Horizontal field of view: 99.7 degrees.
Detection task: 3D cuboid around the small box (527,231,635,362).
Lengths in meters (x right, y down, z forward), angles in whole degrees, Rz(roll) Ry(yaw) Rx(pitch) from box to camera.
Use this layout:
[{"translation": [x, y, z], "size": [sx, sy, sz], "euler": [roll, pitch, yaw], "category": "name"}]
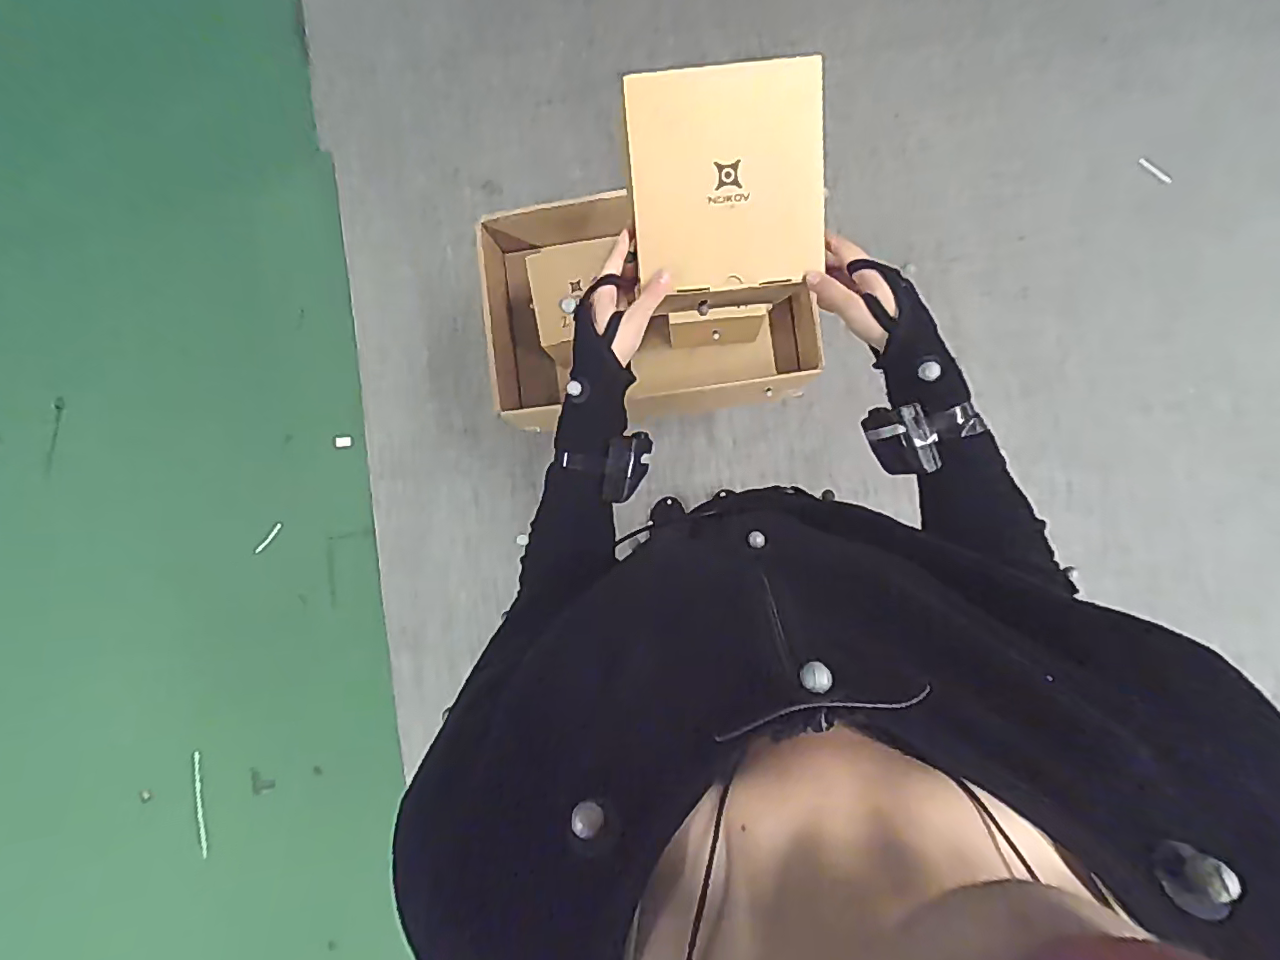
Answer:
[{"translation": [-0.108, -0.347, 1.053], "size": [0.168, 0.176, 0.179], "euler": [-11, 87, 5], "category": "small box"}]
